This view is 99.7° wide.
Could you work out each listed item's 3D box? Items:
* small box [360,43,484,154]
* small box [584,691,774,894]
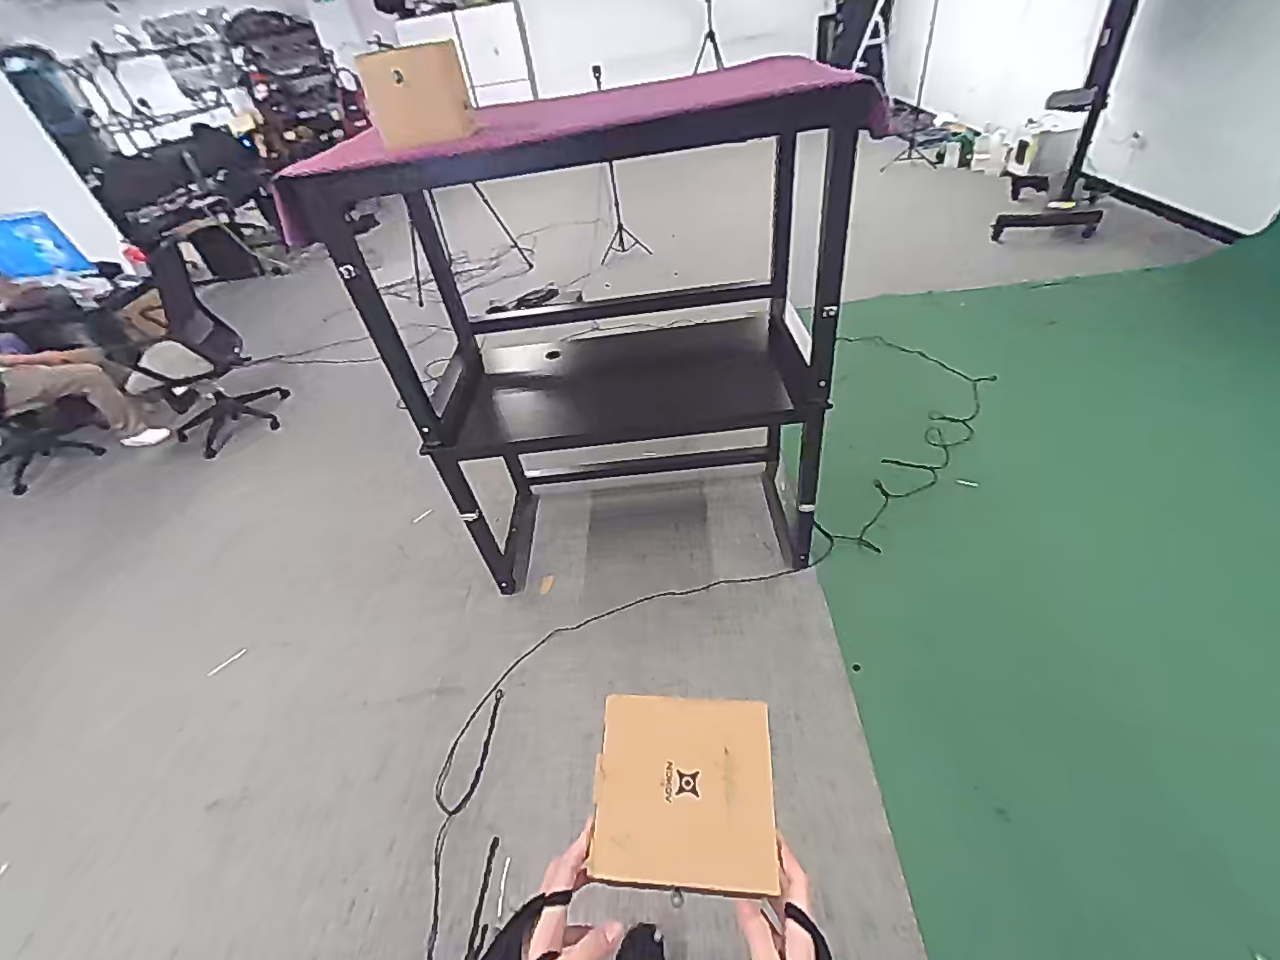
[{"bbox_3d":[-0.464,-0.829,1.179,0.179,0.176,0.168,-7,42,4],"label":"small box"},{"bbox_3d":[0.048,0.347,0.599,0.179,0.176,0.168,1,52,7],"label":"small box"}]
